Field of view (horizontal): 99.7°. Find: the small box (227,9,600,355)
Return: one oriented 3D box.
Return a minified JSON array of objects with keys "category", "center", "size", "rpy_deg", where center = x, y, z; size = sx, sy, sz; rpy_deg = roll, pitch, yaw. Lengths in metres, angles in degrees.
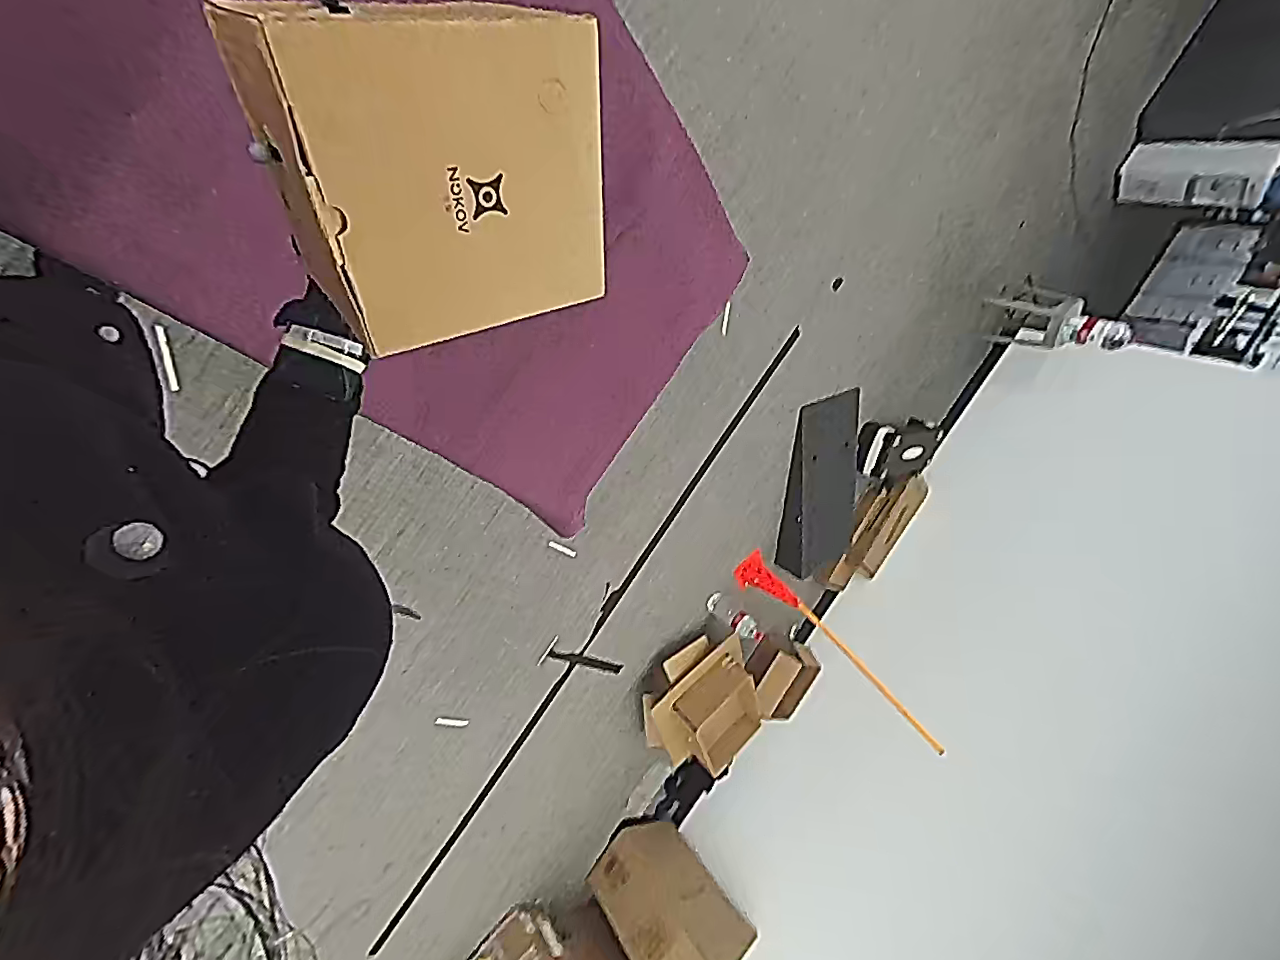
[{"category":"small box","center":[-0.146,-0.217,0.380],"size":[0.179,0.176,0.168],"rpy_deg":[-25,139,-27]}]
